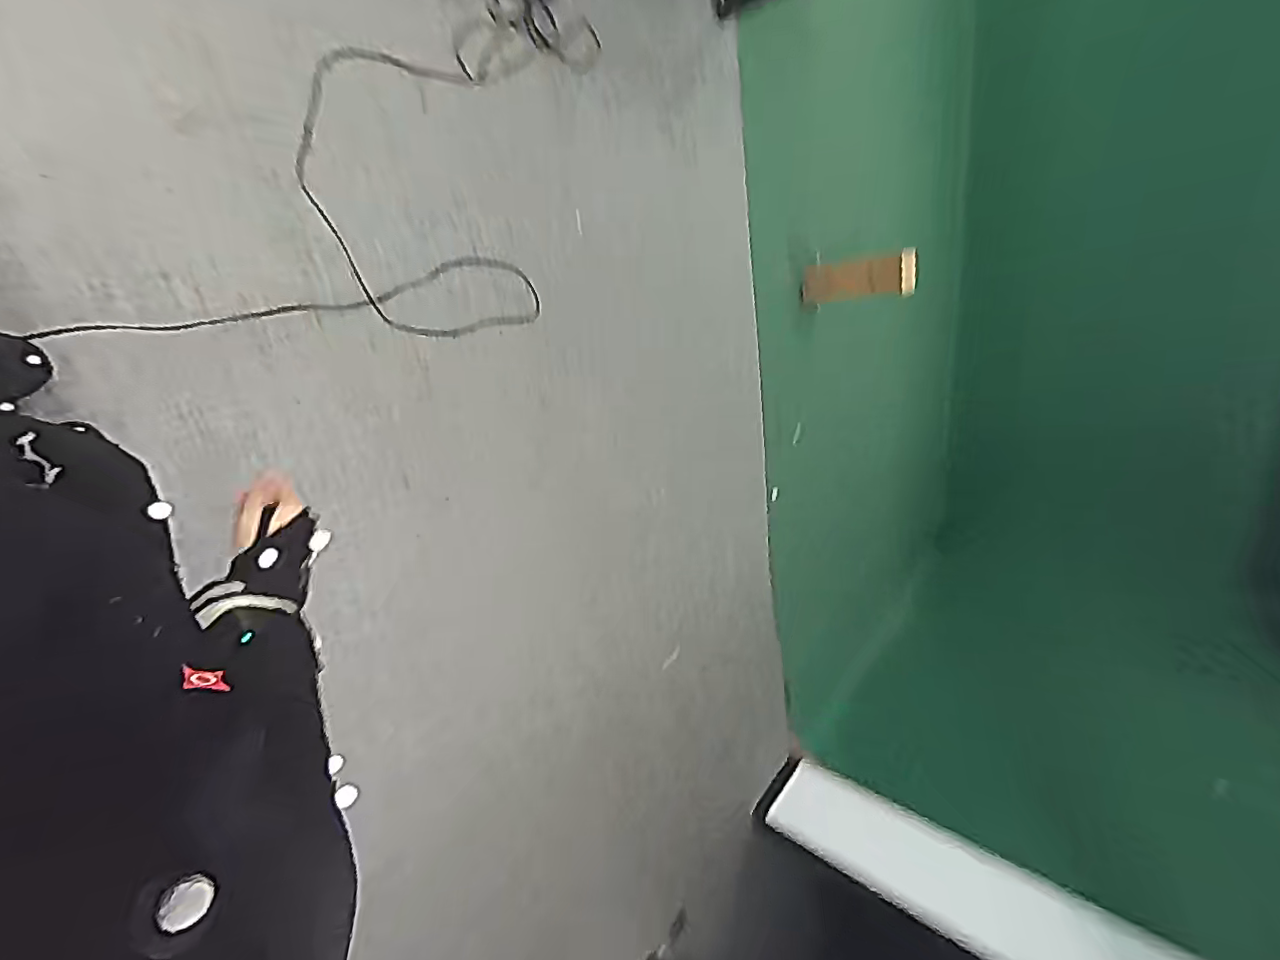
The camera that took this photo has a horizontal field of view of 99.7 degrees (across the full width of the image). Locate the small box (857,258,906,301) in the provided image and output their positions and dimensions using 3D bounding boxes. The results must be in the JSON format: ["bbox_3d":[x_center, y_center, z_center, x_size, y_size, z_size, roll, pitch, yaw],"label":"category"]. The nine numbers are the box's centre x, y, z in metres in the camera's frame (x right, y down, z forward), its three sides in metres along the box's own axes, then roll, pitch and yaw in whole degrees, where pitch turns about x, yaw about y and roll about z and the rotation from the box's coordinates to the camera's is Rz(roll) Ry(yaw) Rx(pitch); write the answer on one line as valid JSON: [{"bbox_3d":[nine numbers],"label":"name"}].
[{"bbox_3d":[1.156,-0.960,2.585,0.179,0.176,0.168,-29,117,-40],"label":"small box"}]

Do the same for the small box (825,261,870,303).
[{"bbox_3d":[1.034,-0.983,2.691,0.179,0.176,0.168,-30,119,-41],"label":"small box"}]
